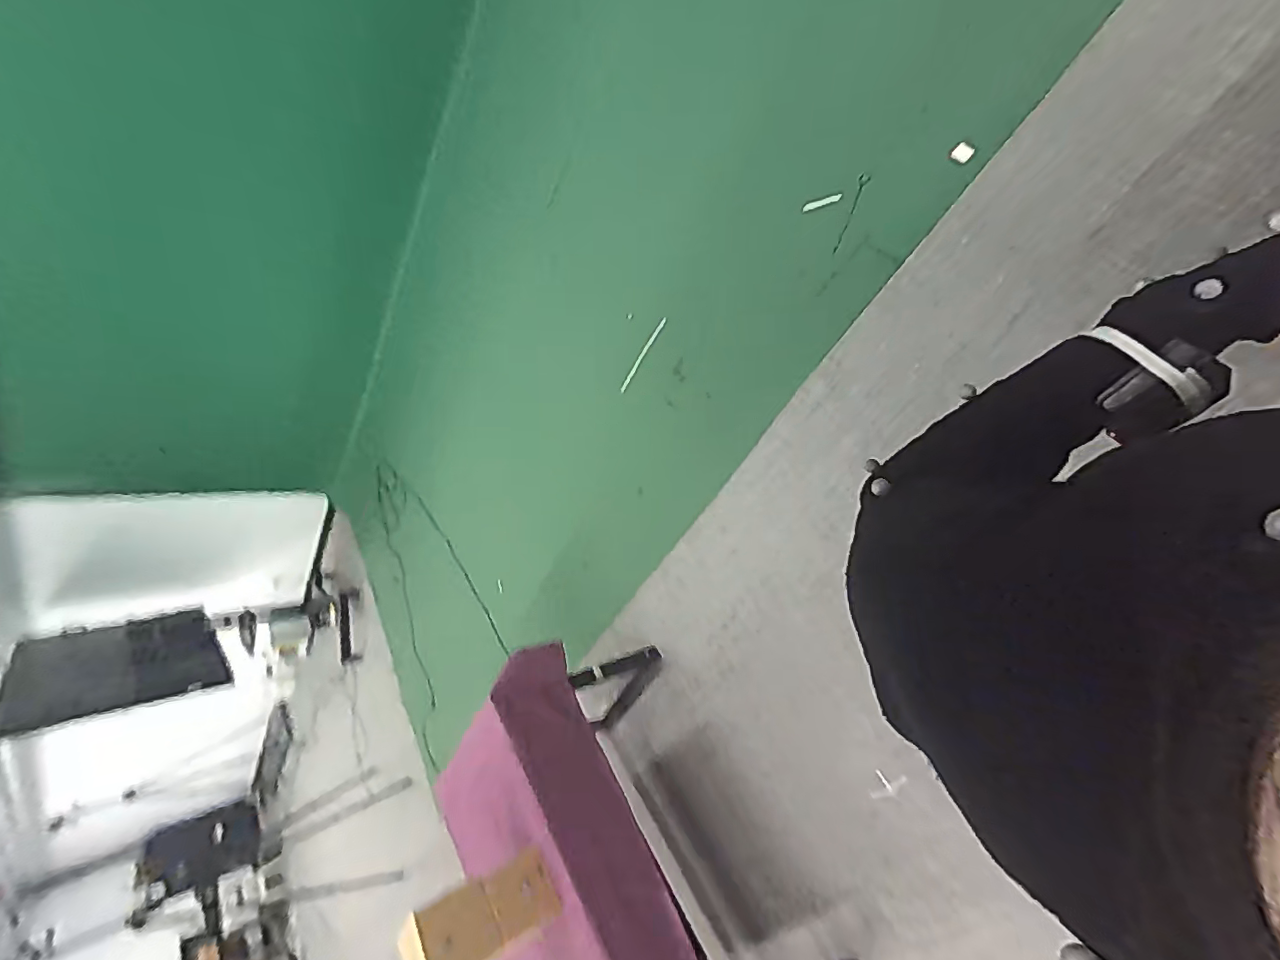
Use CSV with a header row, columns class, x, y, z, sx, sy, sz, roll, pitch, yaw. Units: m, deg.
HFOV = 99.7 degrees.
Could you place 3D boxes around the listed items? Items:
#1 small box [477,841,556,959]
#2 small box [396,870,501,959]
class,x,y,z,sx,sy,sz,roll,pitch,yaw
small box,-0.343,1.096,1.419,0.168,0.176,0.179,52,124,31
small box,-0.460,1.097,1.302,0.179,0.176,0.168,51,124,31
